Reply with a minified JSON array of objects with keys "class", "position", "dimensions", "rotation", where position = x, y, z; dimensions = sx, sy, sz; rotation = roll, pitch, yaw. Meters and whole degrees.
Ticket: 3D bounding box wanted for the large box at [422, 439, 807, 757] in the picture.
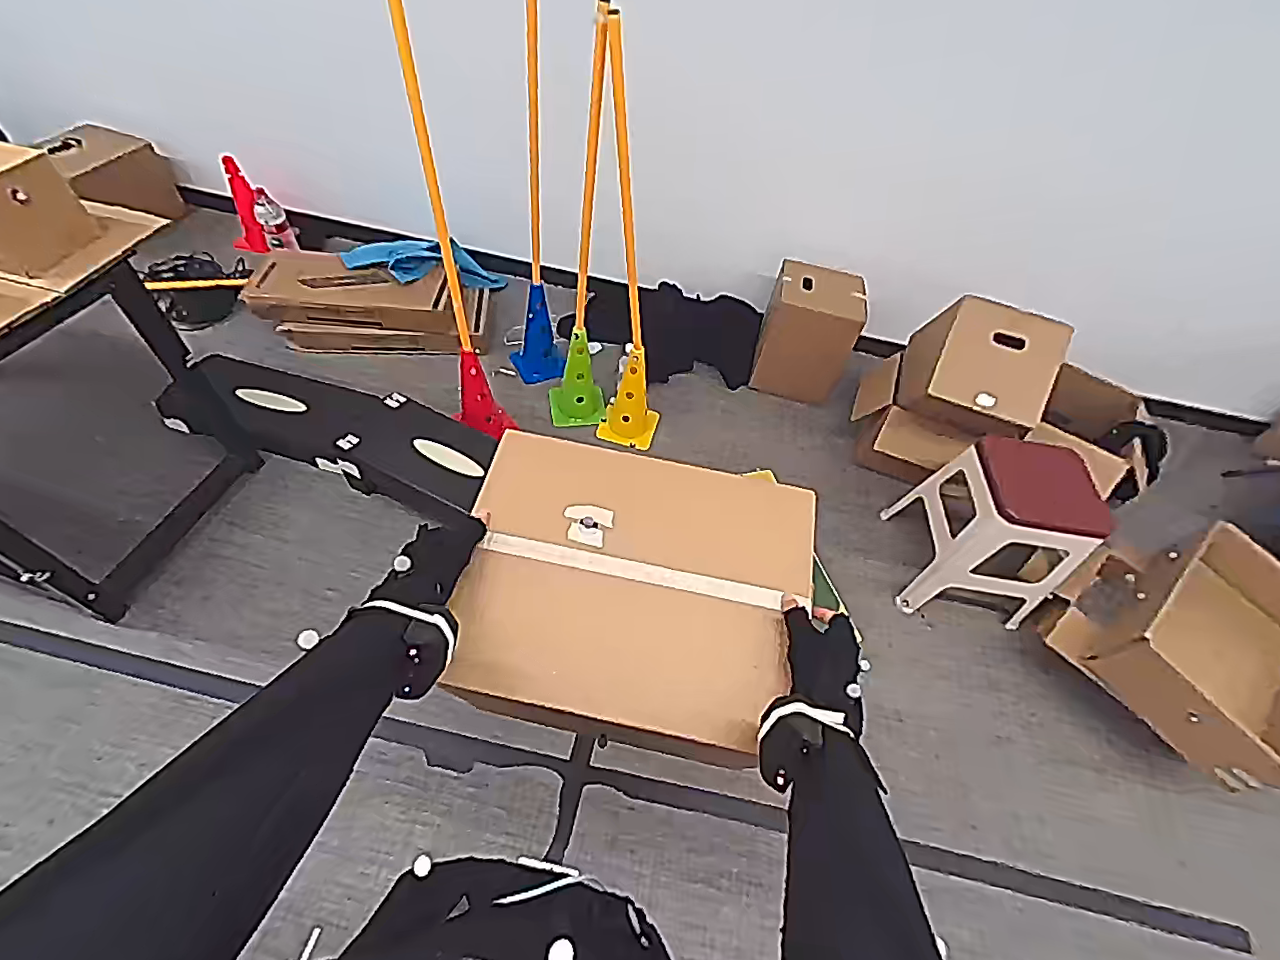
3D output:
[{"class":"large box","position":[-0.014,0.183,0.759],"dimensions":[0.408,0.320,0.320],"rotation":[12,60,3]}]
